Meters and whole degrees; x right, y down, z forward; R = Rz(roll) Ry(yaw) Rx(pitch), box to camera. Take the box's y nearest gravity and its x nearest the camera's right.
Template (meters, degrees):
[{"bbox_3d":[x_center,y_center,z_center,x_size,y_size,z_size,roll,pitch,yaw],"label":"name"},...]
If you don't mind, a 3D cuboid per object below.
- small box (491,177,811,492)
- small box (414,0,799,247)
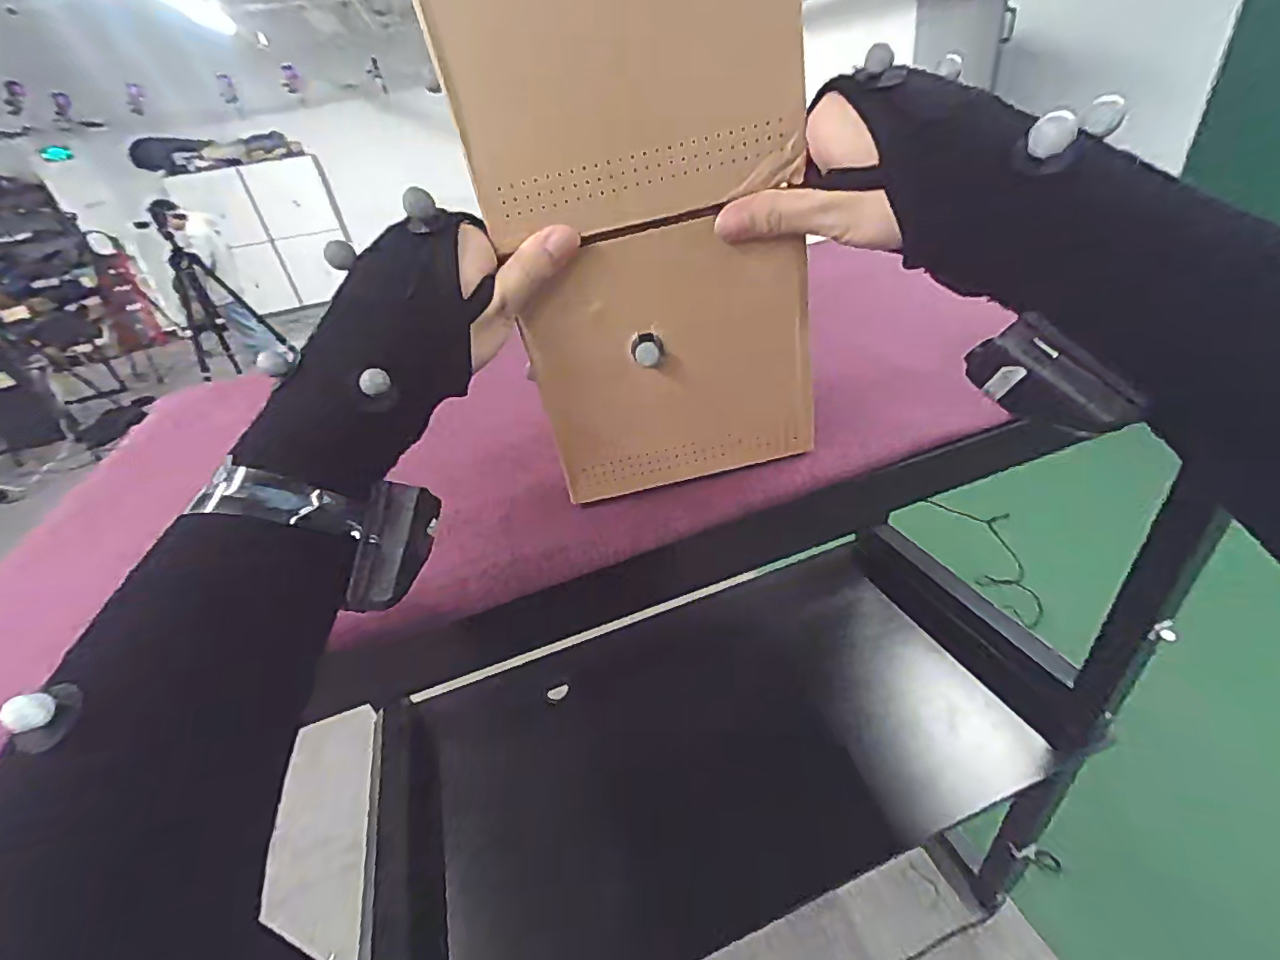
[{"bbox_3d":[0.012,-0.110,0.401,0.179,0.176,0.168,-14,31,1],"label":"small box"},{"bbox_3d":[-0.019,-0.247,0.314,0.179,0.176,0.168,-12,31,3],"label":"small box"}]
